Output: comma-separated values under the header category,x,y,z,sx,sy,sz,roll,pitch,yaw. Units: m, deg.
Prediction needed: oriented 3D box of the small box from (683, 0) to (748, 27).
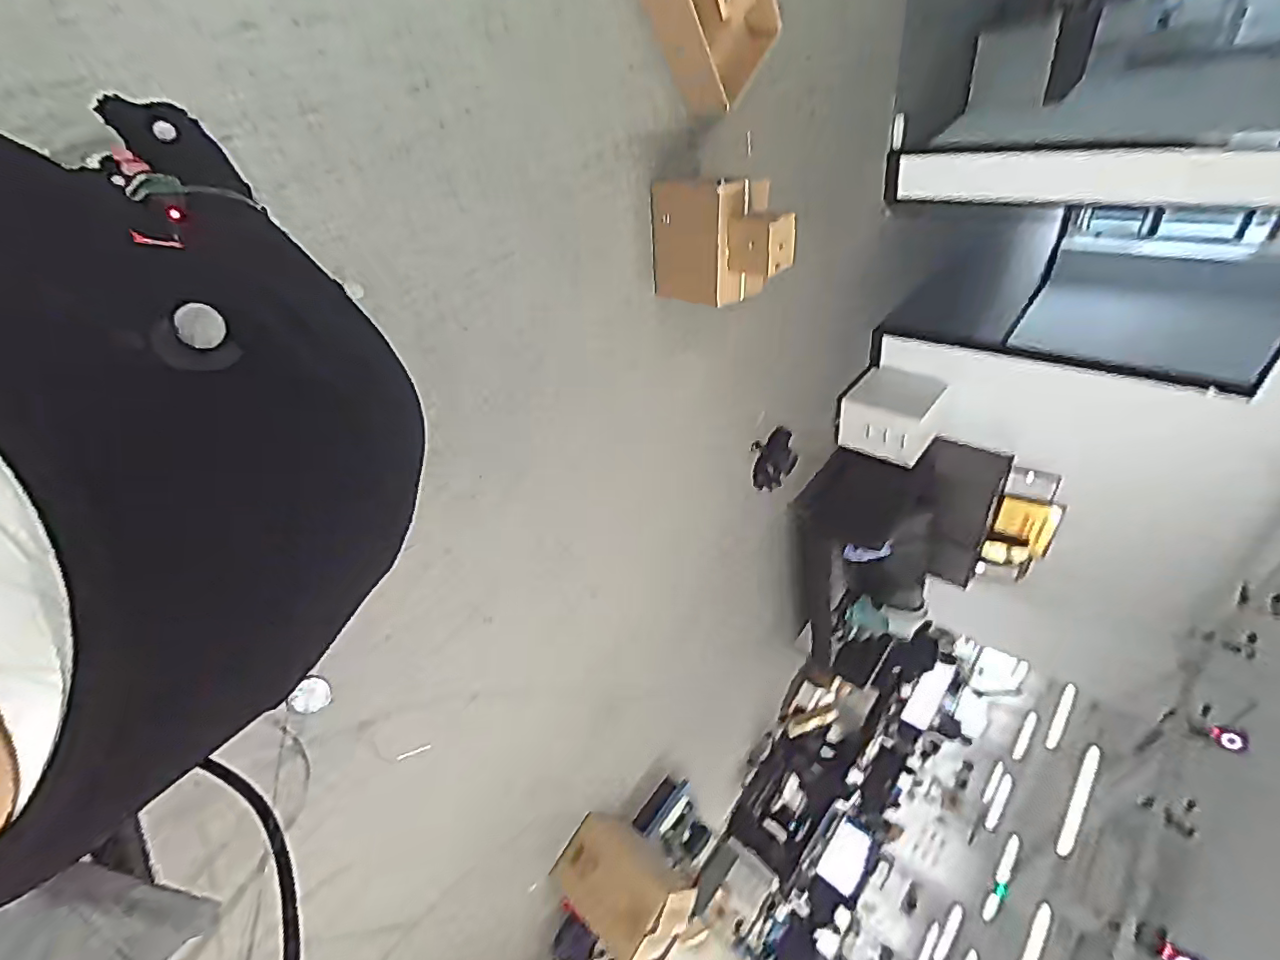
category,x,y,z,sx,sy,sz,roll,pitch,yaw
small box,0.237,-1.572,1.696,0.179,0.176,0.168,-56,142,-15

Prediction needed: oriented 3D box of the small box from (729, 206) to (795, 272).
category,x,y,z,sx,sy,sz,roll,pitch,yaw
small box,0.424,-0.849,1.895,0.168,0.176,0.179,-37,135,-31
